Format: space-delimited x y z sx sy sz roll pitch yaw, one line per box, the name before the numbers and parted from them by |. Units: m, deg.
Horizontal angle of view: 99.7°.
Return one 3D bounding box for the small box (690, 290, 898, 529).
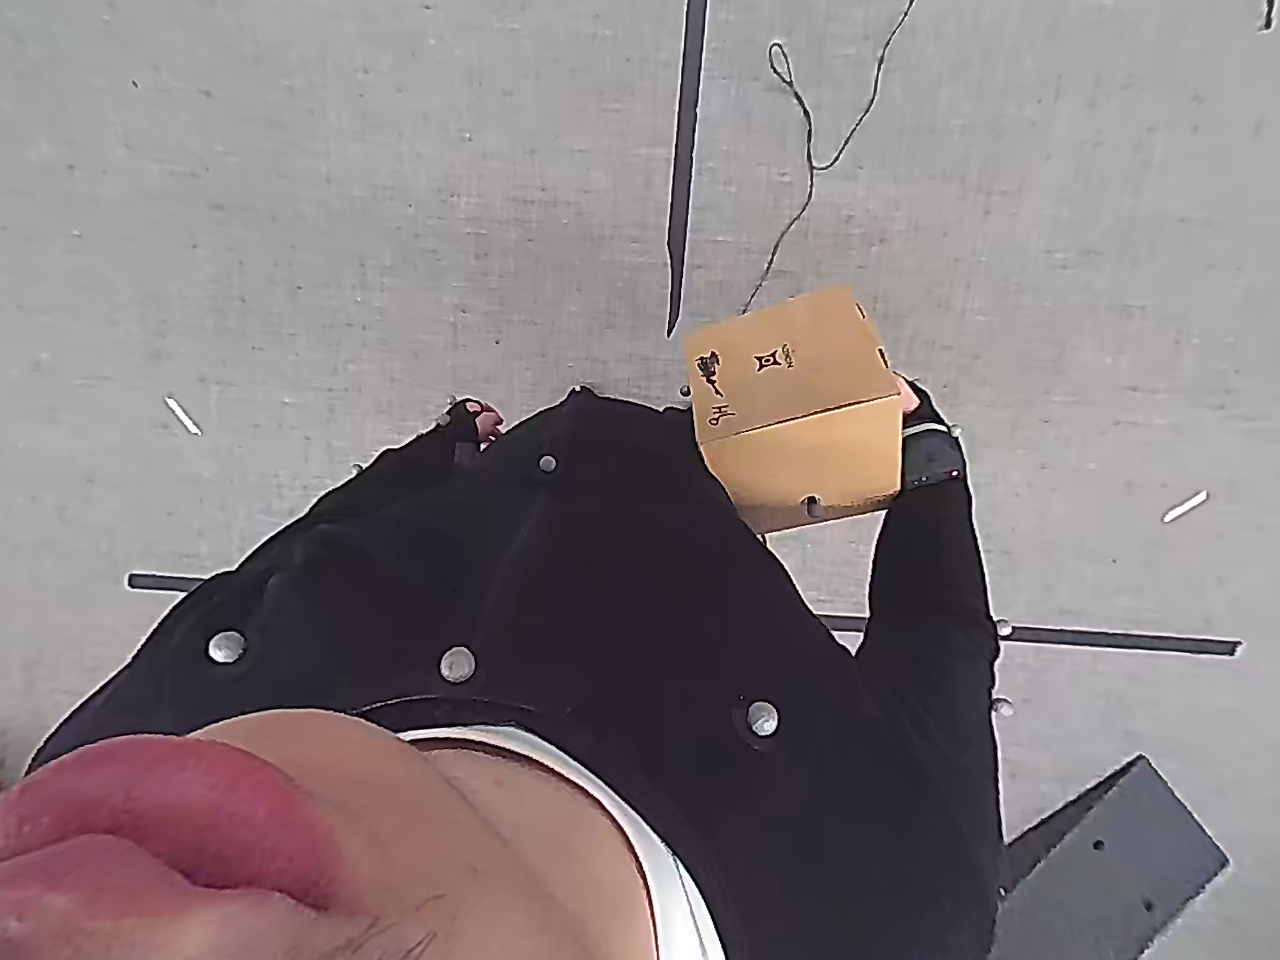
small box | 0.164 -0.068 0.591 0.179 0.168 0.176 -14 138 14
